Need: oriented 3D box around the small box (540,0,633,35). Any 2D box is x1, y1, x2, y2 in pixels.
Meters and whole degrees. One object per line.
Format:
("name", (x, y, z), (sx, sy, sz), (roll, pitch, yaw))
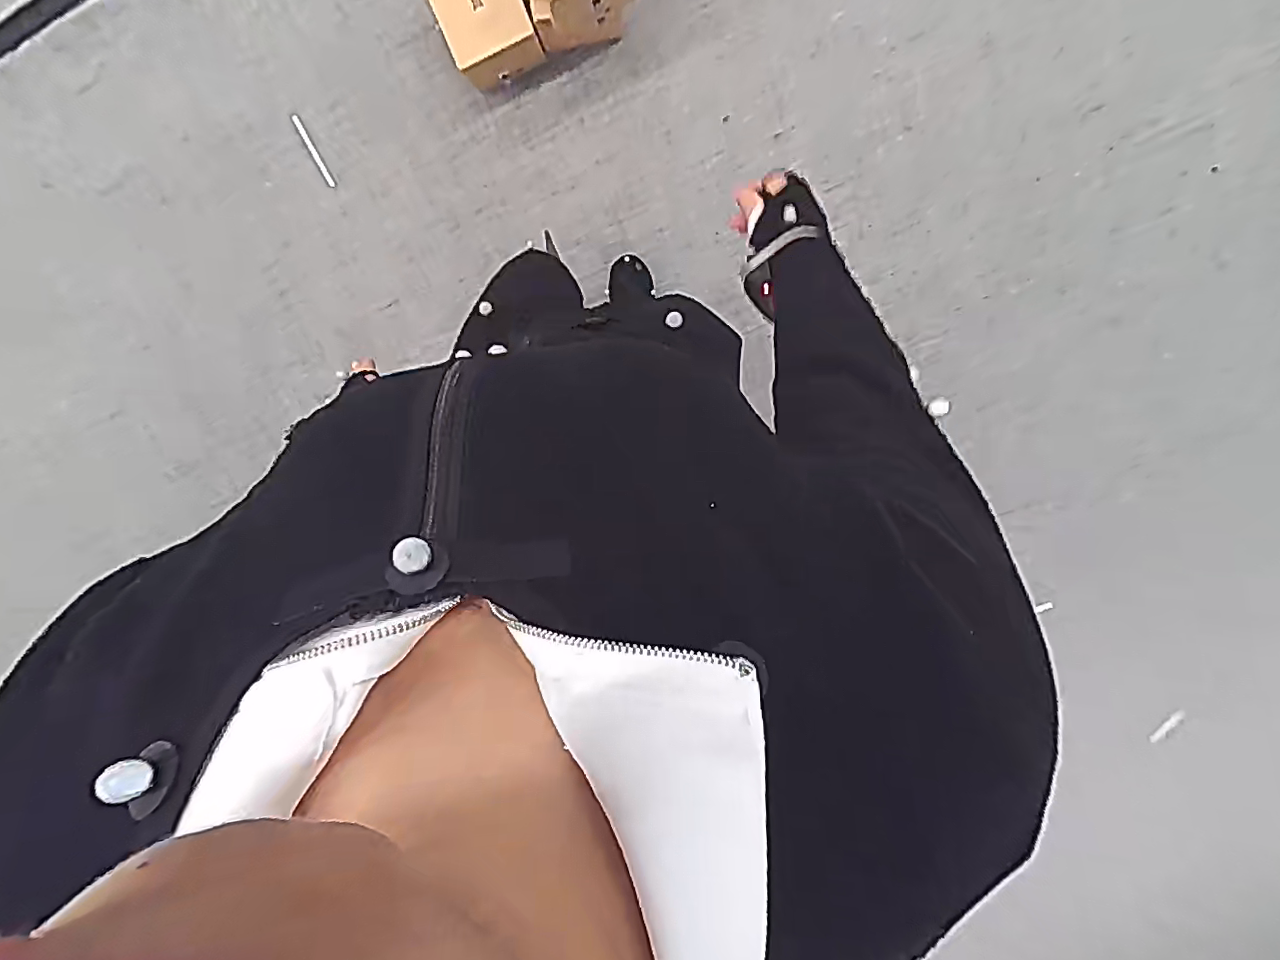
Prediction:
("small box", (-0.112, -0.911, 0.927), (0.168, 0.176, 0.179), (-22, 111, 7))
